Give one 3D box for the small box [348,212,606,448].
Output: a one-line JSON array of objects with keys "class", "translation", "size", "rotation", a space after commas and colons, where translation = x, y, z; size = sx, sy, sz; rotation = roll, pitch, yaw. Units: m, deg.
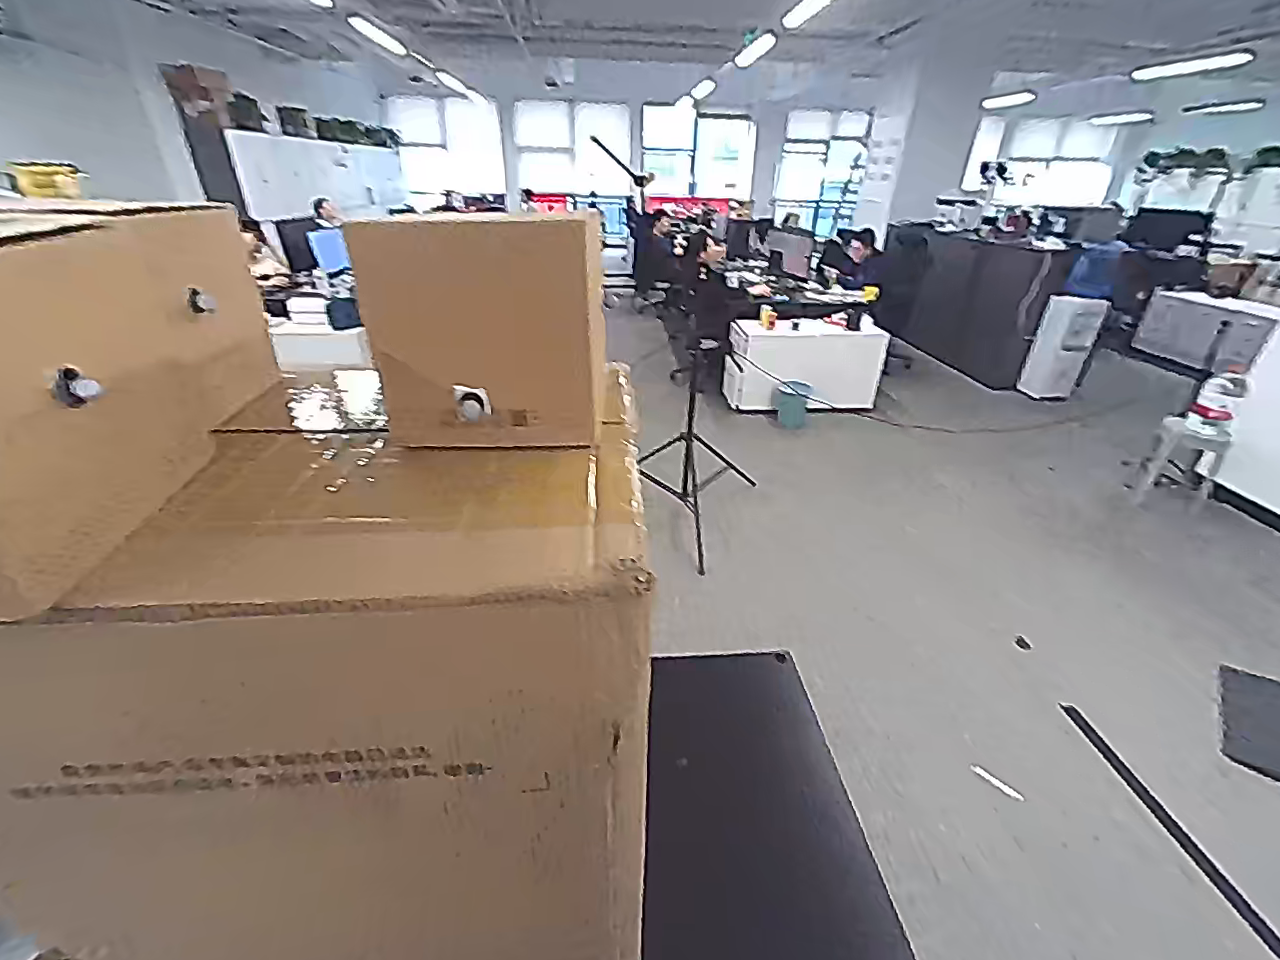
[{"class": "small box", "translation": [-0.117, -0.137, 0.472], "size": [0.168, 0.176, 0.179], "rotation": [-2, 29, -1]}]
